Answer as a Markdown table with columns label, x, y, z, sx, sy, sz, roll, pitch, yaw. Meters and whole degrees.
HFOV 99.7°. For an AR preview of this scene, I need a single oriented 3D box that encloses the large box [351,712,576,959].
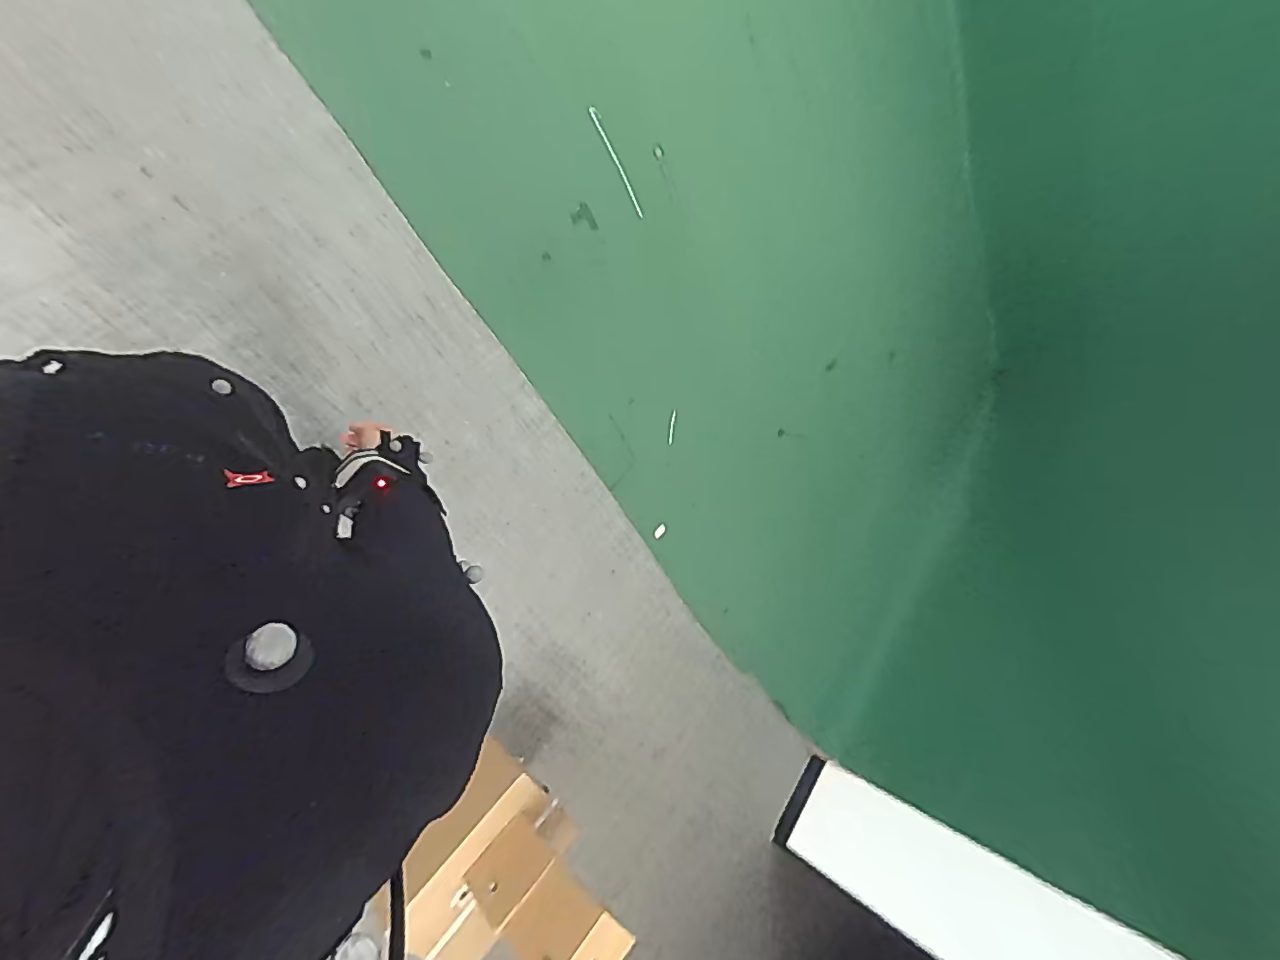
| label | x | y | z | sx | sy | sz | roll | pitch | yaw |
| --- | --- | --- | --- | --- | --- | --- | --- | --- | --- |
| large box | -0.453 | 0.913 | 1.416 | 0.408 | 0.320 | 0.320 | -44 | 123 | -26 |

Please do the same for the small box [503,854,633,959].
| label | x | y | z | sx | sy | sz | roll | pitch | yaw |
| --- | --- | --- | --- | --- | --- | --- | --- | --- | --- |
| small box | -0.153 | 0.947 | 1.142 | 0.179 | 0.176 | 0.168 | -44 | 125 | -26 |

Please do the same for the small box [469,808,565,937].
| label | x | y | z | sx | sy | sz | roll | pitch | yaw |
| --- | --- | --- | --- | --- | --- | --- | --- | --- | --- |
| small box | -0.270 | 0.916 | 1.251 | 0.179 | 0.176 | 0.168 | -44 | 125 | -28 |
